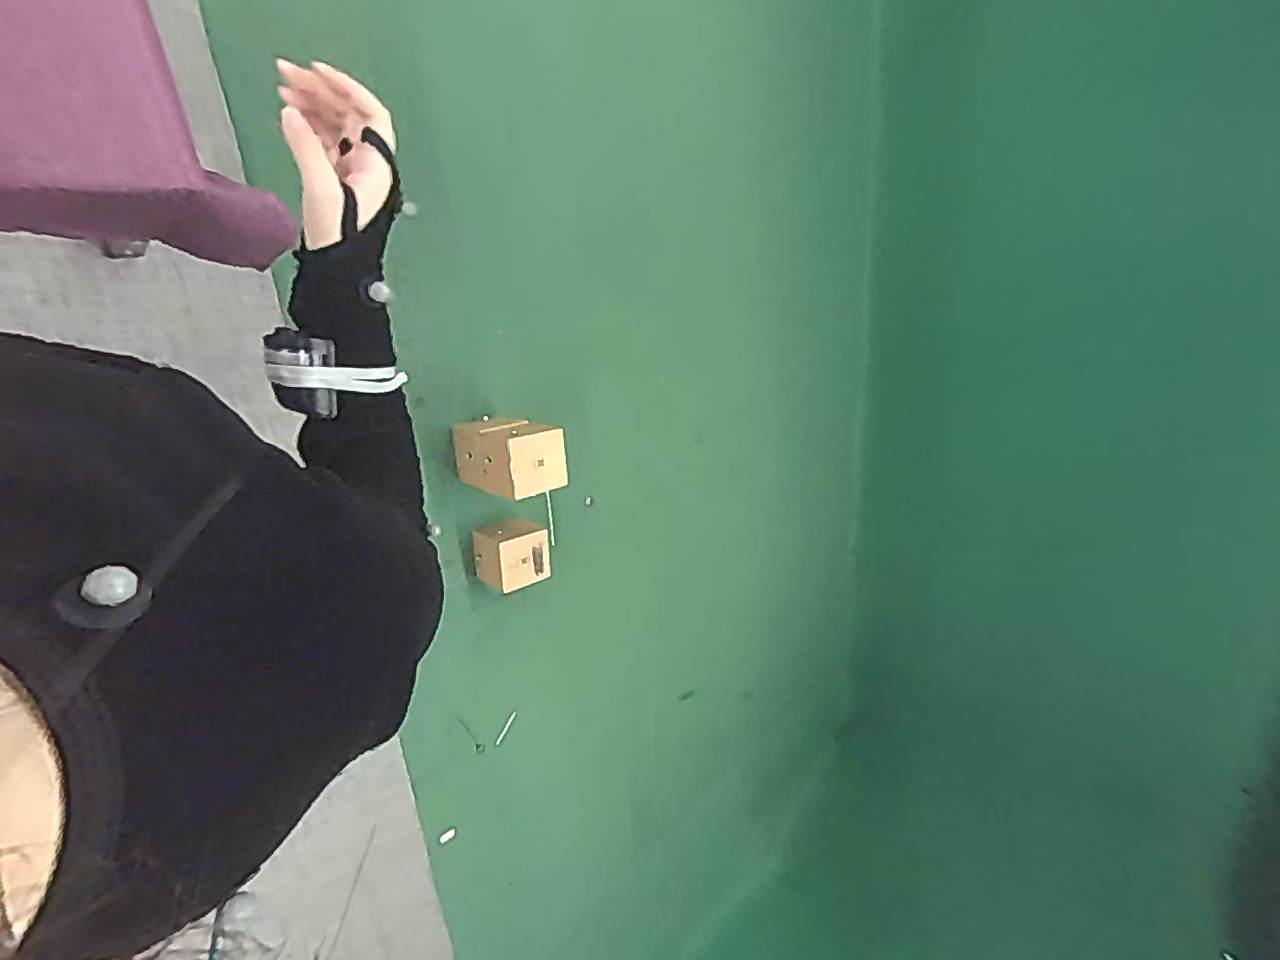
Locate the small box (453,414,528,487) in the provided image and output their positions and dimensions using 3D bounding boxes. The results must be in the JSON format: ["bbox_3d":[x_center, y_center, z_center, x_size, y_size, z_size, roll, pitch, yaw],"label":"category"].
[{"bbox_3d":[-0.438,-0.094,1.615,0.168,0.176,0.179,-19,112,-41],"label":"small box"}]

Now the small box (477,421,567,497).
[{"bbox_3d":[-0.326,-0.065,1.500,0.179,0.176,0.168,-19,112,-41],"label":"small box"}]
